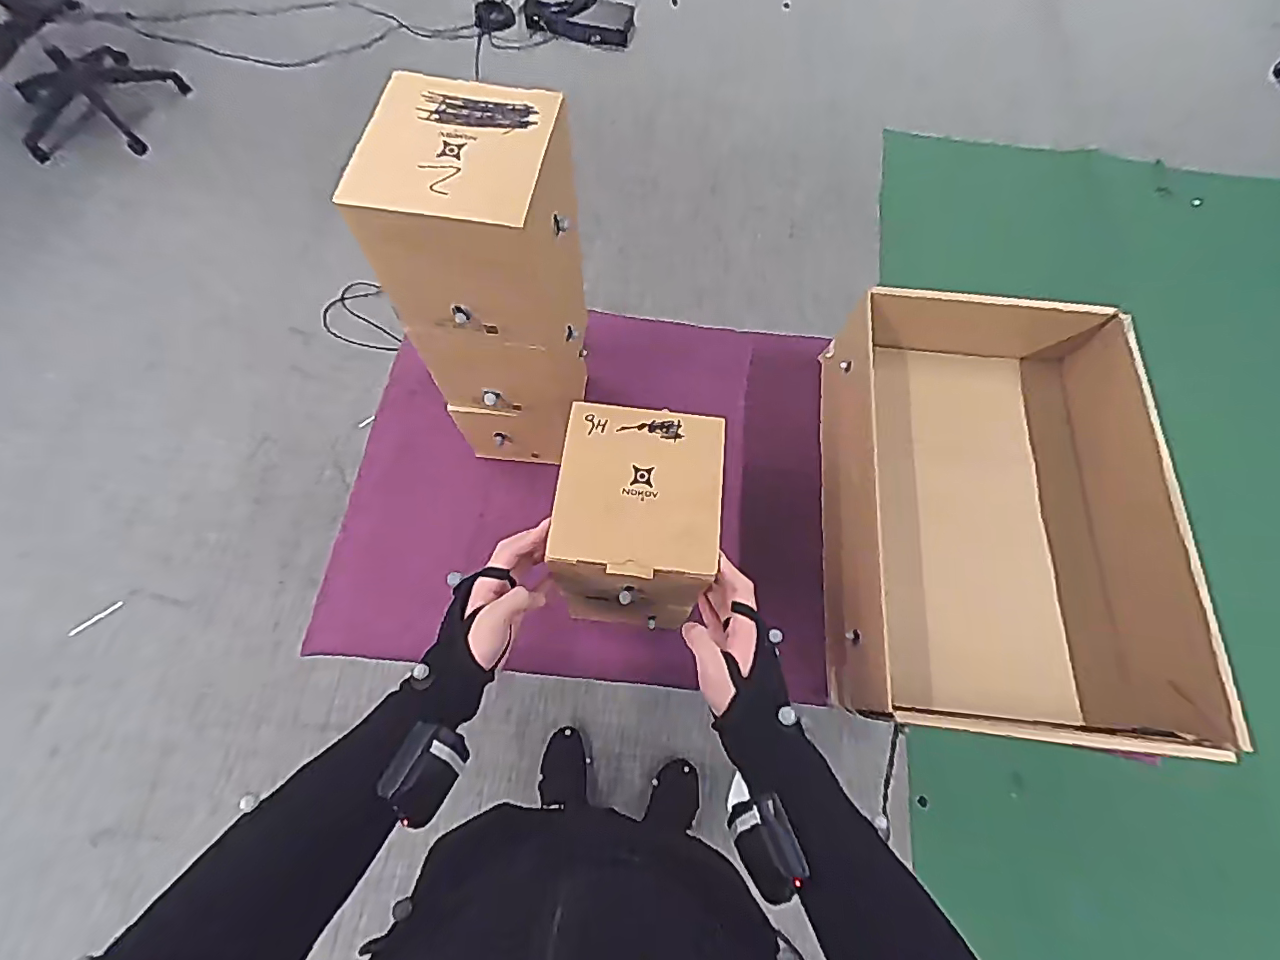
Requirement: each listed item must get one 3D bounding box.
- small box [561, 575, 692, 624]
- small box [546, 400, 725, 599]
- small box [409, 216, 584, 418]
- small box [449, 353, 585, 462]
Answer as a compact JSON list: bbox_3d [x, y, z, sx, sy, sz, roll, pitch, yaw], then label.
[{"bbox_3d":[-0.009,0.099,0.764,0.168,0.176,0.179,7,66,1],"label":"small box"},{"bbox_3d":[-0.002,0.033,0.616,0.168,0.176,0.179,7,68,0],"label":"small box"},{"bbox_3d":[-0.170,-0.206,0.710,0.168,0.176,0.179,9,68,2],"label":"small box"},{"bbox_3d":[-0.182,-0.141,0.860,0.168,0.176,0.179,5,67,1],"label":"small box"}]
